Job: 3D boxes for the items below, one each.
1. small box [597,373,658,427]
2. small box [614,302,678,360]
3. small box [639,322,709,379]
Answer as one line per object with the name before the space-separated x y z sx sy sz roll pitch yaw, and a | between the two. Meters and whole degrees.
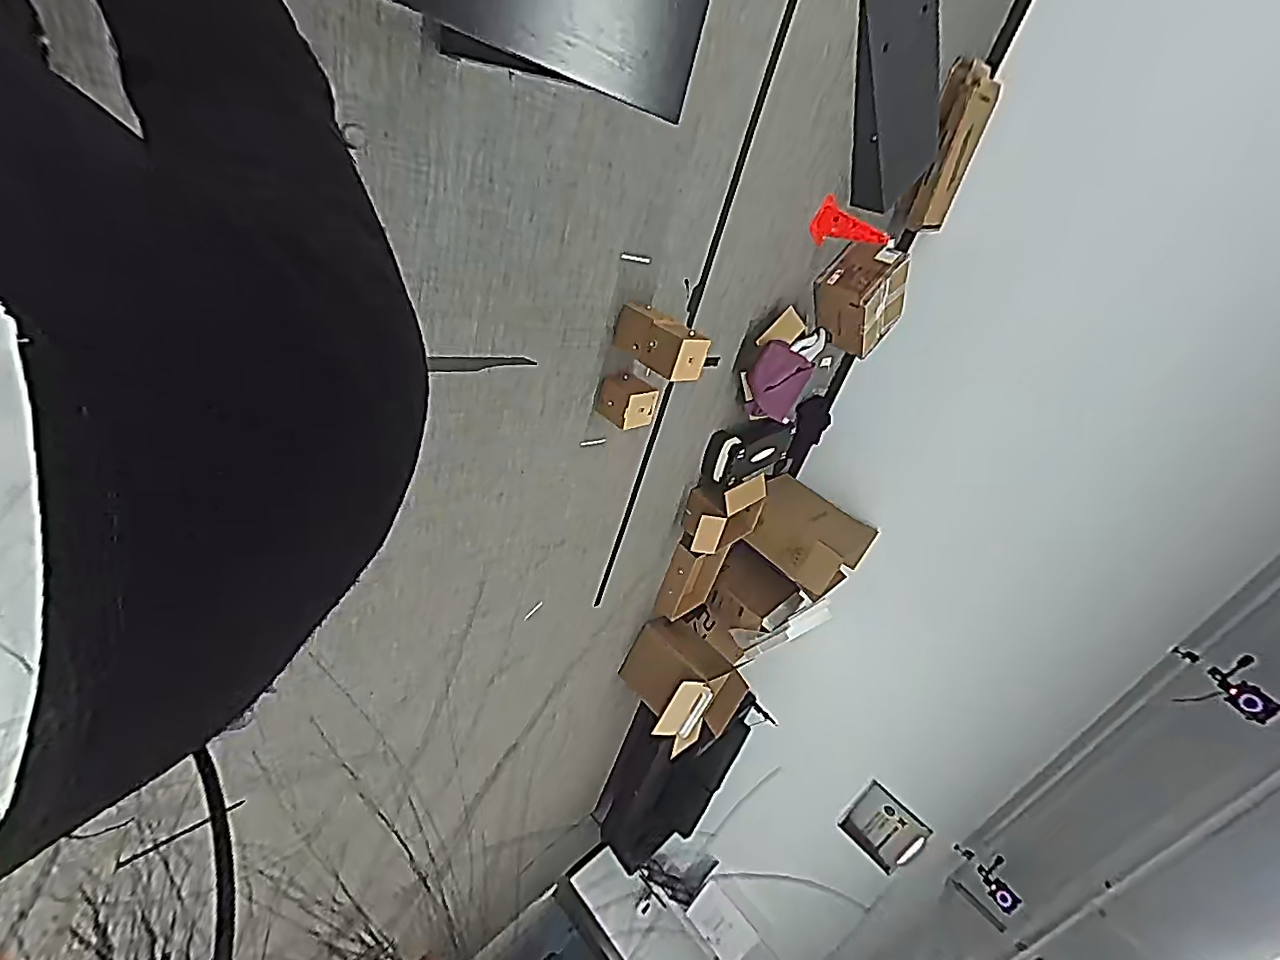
small box | -0.058 -0.346 2.305 0.179 0.176 0.168 -17 134 -42
small box | 0.017 -0.590 2.152 0.168 0.176 0.179 -13 131 -46
small box | 0.129 -0.500 2.074 0.179 0.176 0.168 -14 131 -44
